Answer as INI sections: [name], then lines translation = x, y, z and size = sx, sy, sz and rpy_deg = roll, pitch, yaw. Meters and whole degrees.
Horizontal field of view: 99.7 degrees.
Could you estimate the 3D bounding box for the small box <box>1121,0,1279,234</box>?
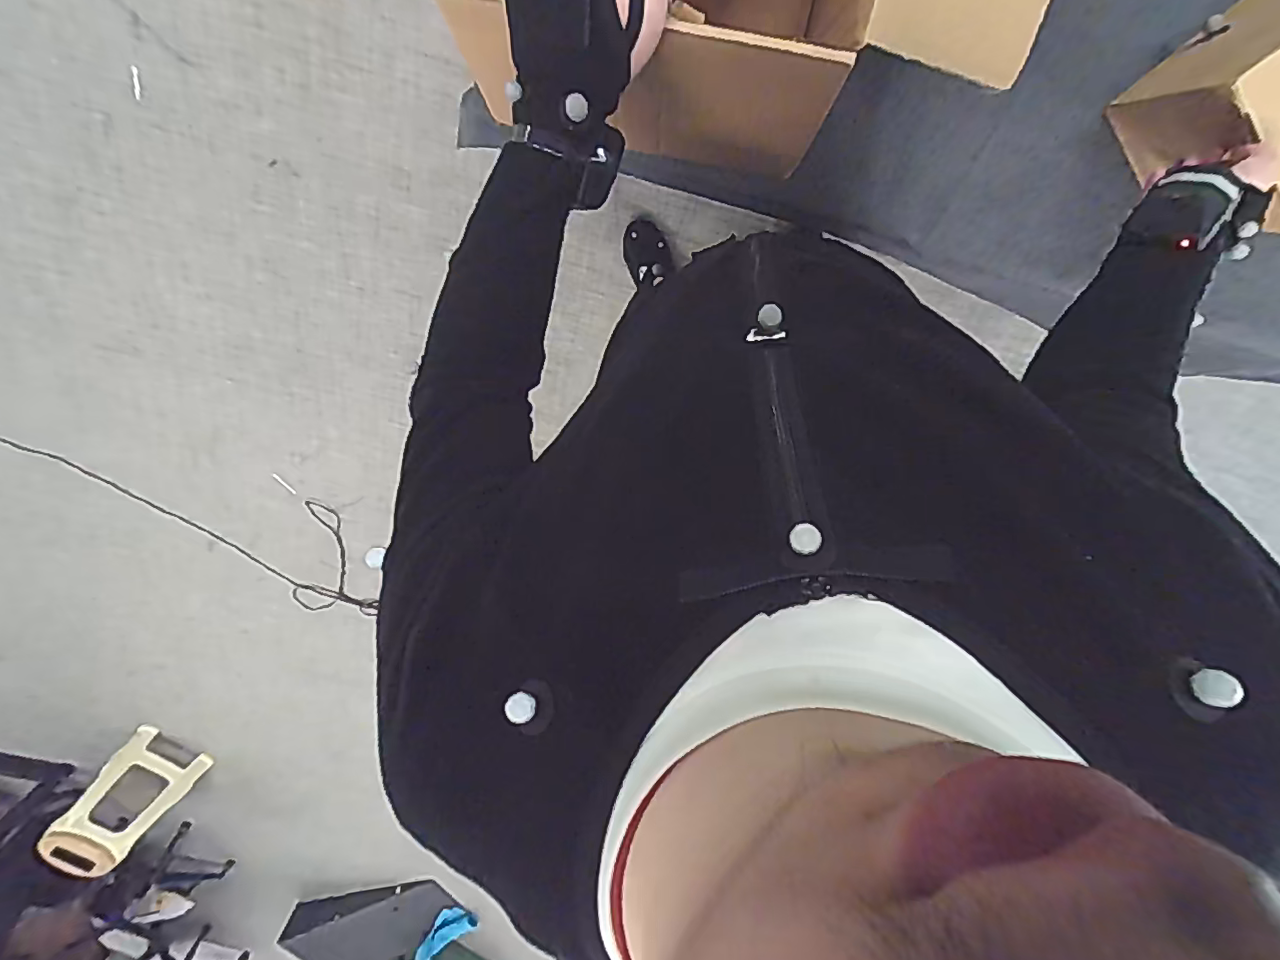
[small box]
translation = 0.640, -0.376, 0.539
size = 0.179, 0.176, 0.168
rpy_deg = -38, 108, 22
